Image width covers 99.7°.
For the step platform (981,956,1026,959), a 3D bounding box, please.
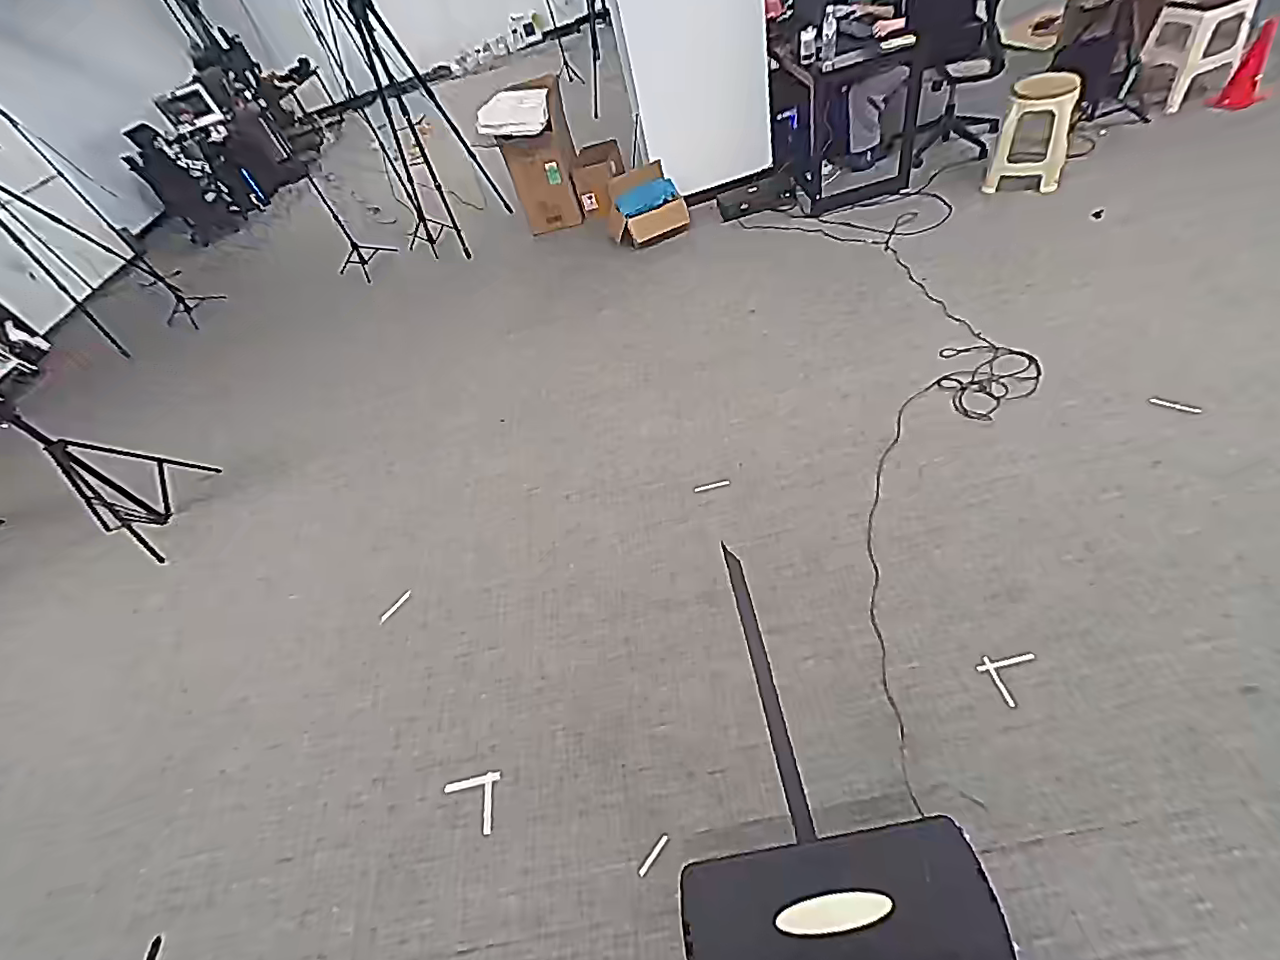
[{"bbox_3d":[0.462,1.115,0.989,0.684,0.204,0.286,-16,46,5],"label":"step platform"}]
